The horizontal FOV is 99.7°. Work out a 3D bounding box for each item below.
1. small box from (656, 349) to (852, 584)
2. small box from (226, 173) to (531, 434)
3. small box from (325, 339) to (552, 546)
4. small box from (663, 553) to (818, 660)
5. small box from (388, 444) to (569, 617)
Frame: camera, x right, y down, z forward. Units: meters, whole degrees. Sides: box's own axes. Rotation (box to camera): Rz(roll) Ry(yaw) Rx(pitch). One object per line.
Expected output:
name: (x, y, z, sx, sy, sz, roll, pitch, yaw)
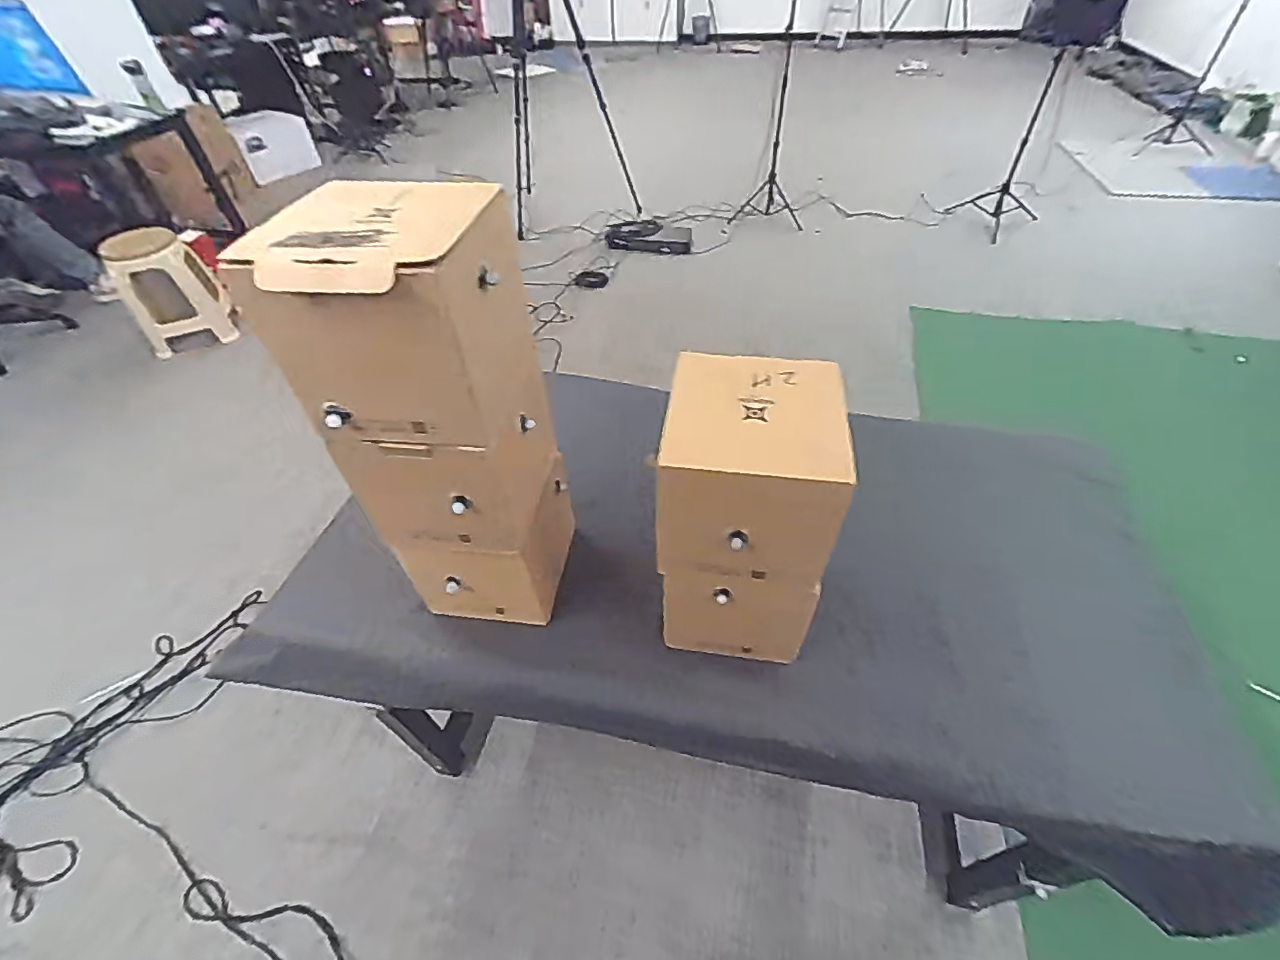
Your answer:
small box: (0.111, -0.013, 0.565, 0.168, 0.176, 0.179, 7, 47, 7)
small box: (-0.205, -0.159, 0.491, 0.168, 0.176, 0.179, 4, 46, 4)
small box: (-0.203, -0.045, 0.610, 0.168, 0.176, 0.179, 5, 46, 5)
small box: (0.121, 0.100, 0.686, 0.168, 0.176, 0.179, 6, 47, 8)
small box: (-0.198, 0.065, 0.729, 0.168, 0.176, 0.179, 5, 47, 6)
